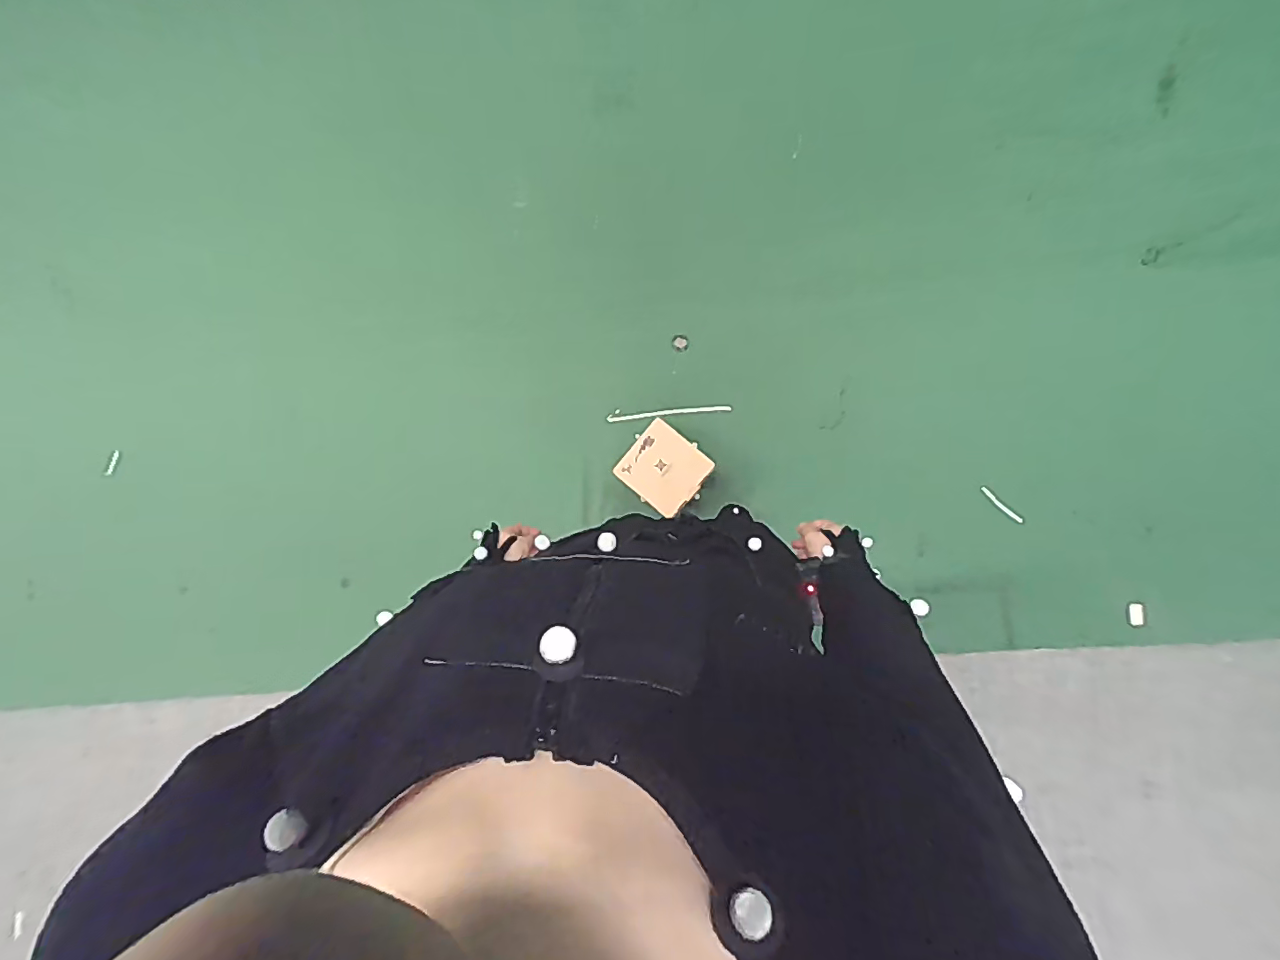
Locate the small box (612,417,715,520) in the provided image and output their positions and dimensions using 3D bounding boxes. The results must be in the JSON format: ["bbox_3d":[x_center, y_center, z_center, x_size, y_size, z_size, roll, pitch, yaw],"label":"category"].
[{"bbox_3d":[0.061,-0.026,1.286,0.179,0.176,0.168,41,93,6],"label":"small box"}]
